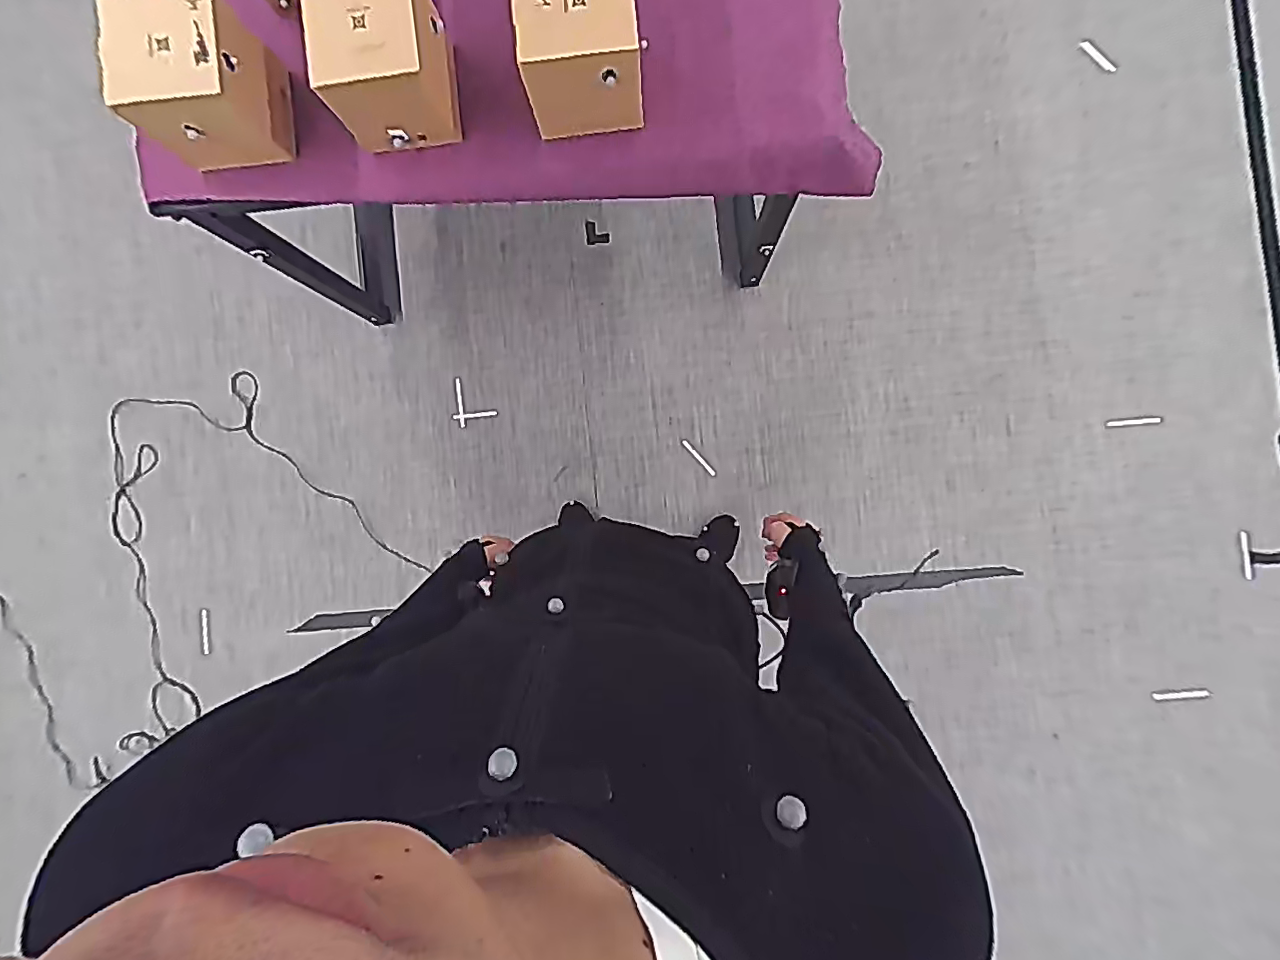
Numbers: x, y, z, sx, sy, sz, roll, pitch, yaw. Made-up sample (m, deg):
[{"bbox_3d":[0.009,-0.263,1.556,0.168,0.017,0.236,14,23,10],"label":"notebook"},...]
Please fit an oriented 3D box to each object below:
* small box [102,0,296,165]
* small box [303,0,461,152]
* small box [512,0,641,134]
[{"bbox_3d":[-0.693,-0.634,0.866,0.179,0.176,0.168,-5,90,3],"label":"small box"},{"bbox_3d":[-0.398,-0.663,0.857,0.168,0.176,0.179,-6,91,3],"label":"small box"},{"bbox_3d":[-0.090,-0.675,0.840,0.179,0.176,0.168,-5,89,3],"label":"small box"}]
